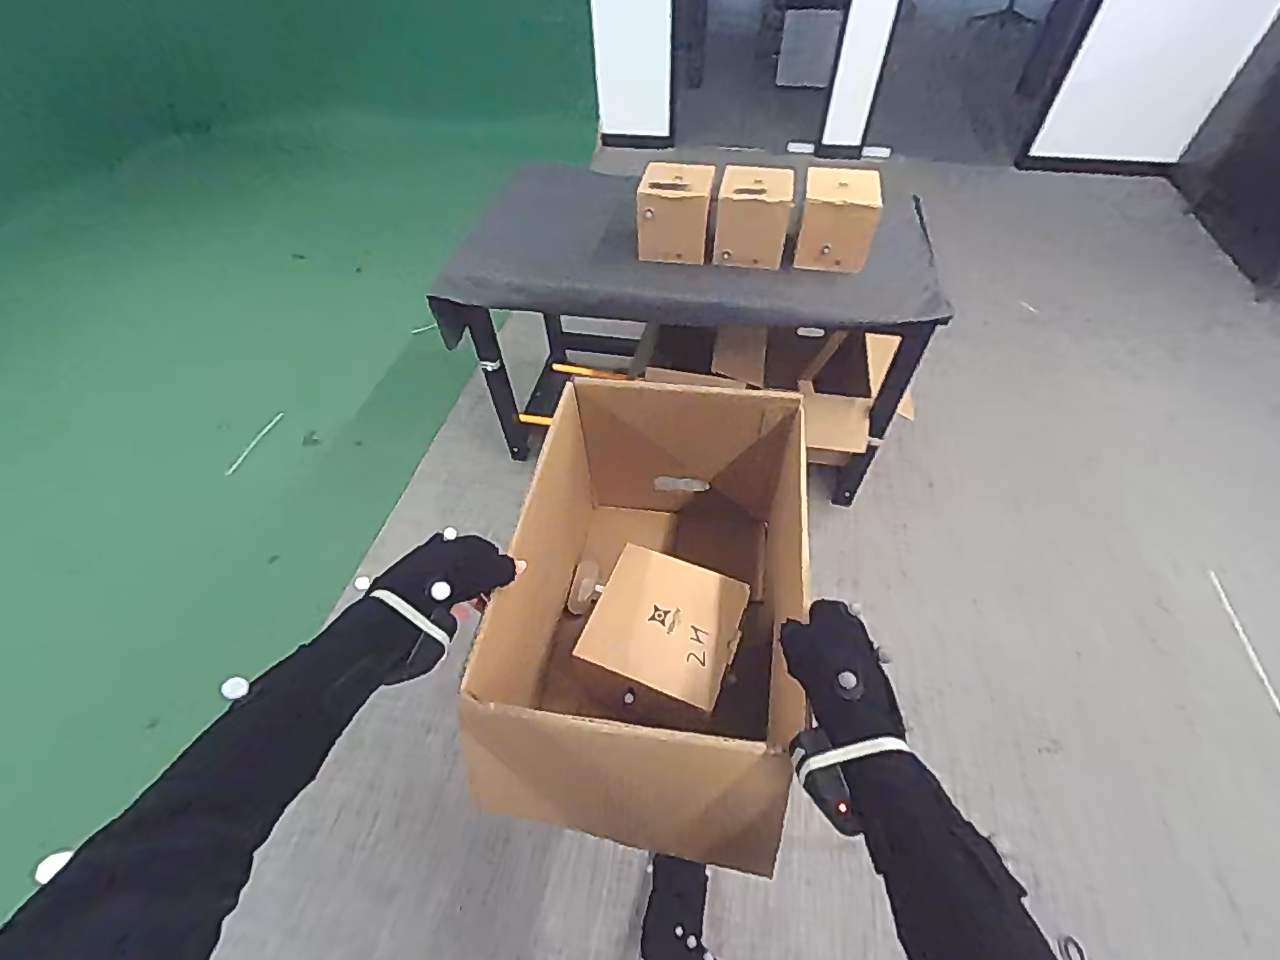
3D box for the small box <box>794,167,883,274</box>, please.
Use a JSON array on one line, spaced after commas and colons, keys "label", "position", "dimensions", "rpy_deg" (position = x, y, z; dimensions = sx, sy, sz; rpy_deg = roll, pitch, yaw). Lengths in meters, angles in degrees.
[{"label": "small box", "position": [0.473, -0.628, 1.309], "dimensions": [0.168, 0.176, 0.179], "rpy_deg": [9, 53, 8]}]
